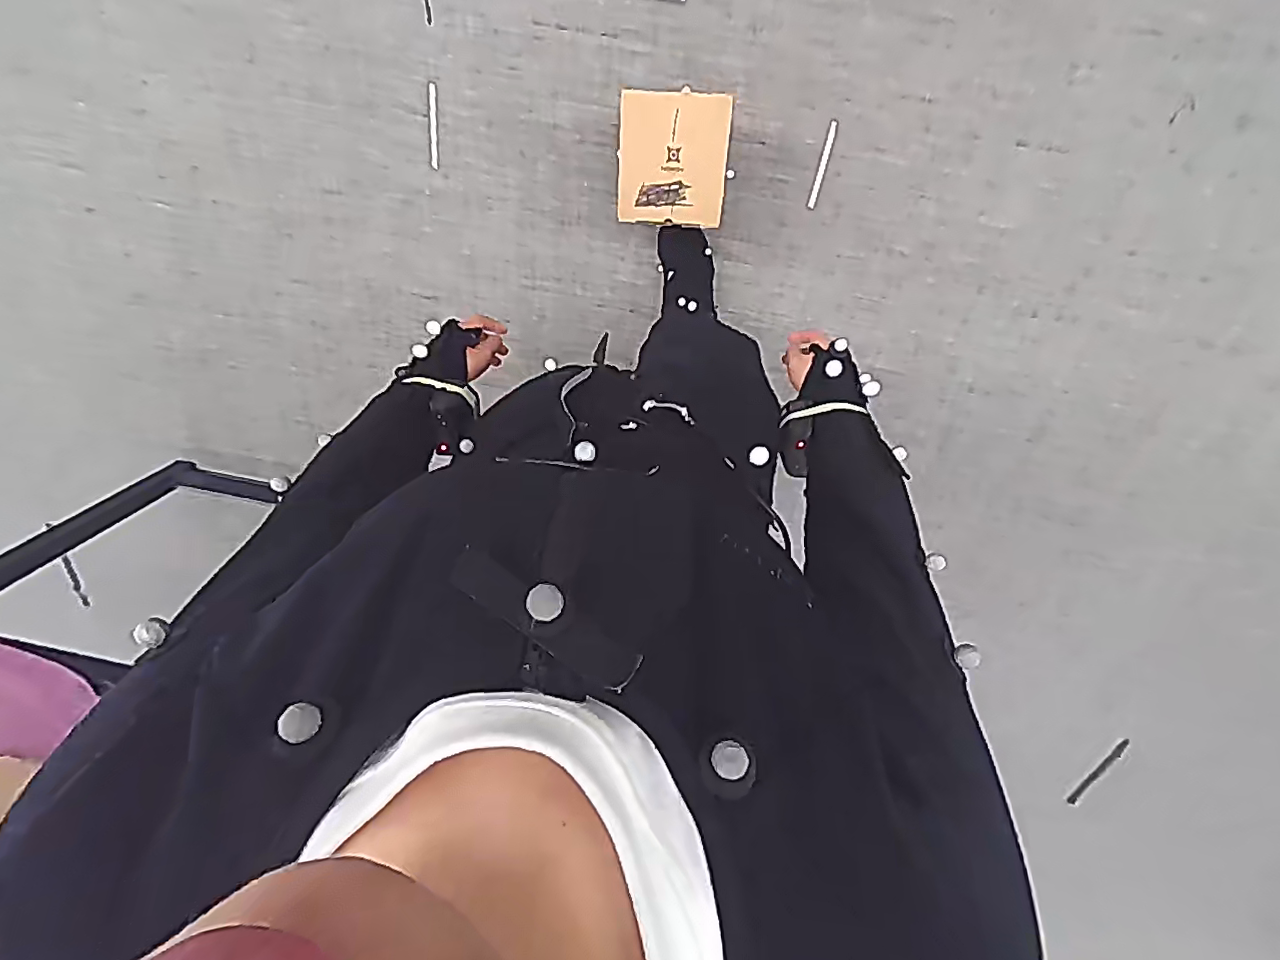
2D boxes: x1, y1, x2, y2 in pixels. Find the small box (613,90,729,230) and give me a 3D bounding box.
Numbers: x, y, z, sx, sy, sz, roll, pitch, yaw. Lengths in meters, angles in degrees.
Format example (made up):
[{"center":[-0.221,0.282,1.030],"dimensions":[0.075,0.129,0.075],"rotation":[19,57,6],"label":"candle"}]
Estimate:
[{"center":[0.053,-0.521,0.890],"dimensions":[0.168,0.176,0.179],"rotation":[6,120,4],"label":"small box"}]
